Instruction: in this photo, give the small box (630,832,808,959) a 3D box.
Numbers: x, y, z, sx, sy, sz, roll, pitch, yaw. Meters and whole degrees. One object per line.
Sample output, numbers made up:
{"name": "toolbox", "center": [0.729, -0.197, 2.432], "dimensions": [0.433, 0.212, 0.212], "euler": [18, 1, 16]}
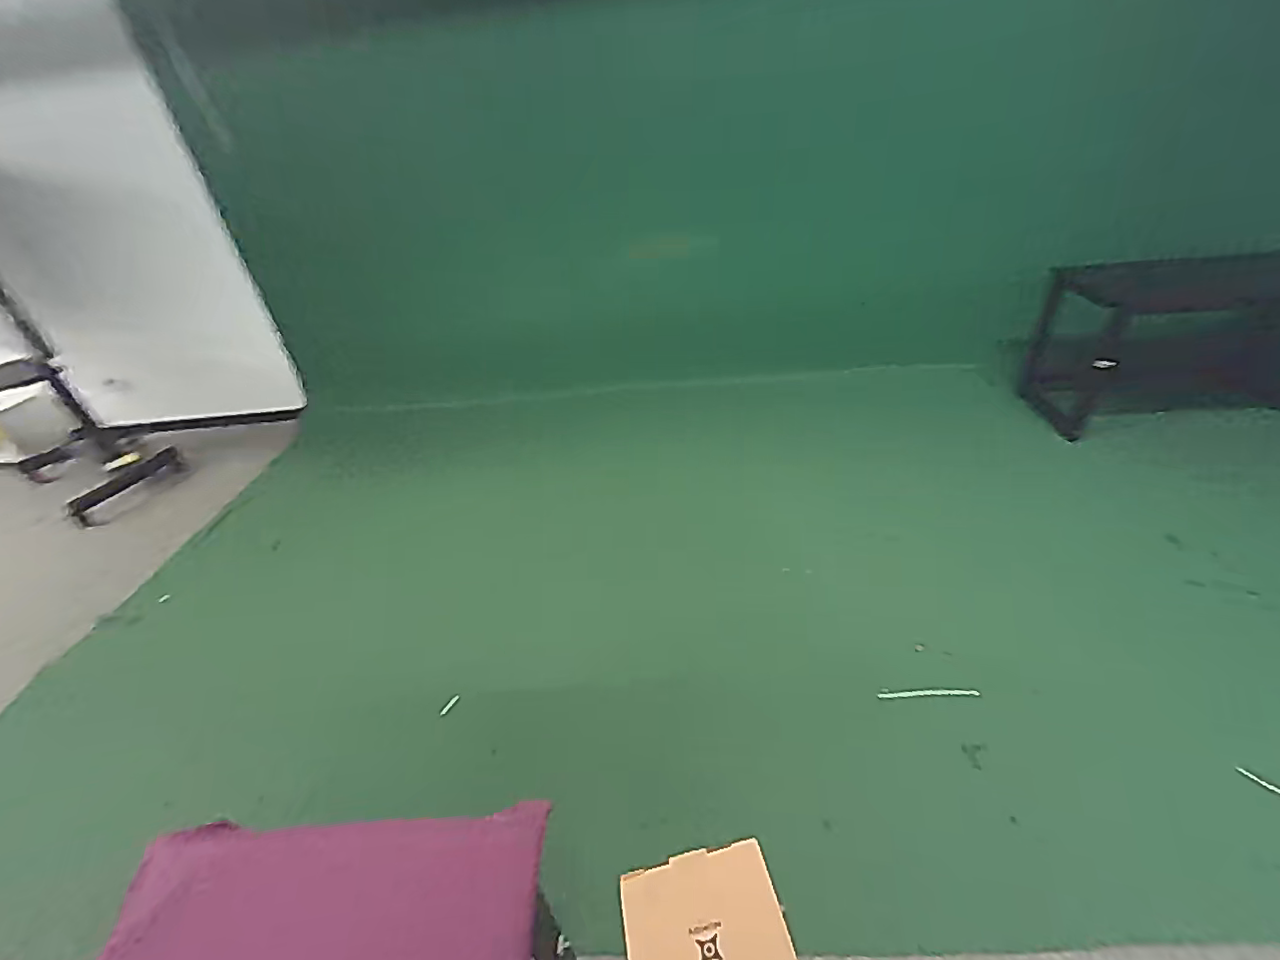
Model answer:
{"name": "small box", "center": [0.089, 0.527, 0.578], "dimensions": [0.168, 0.176, 0.179], "euler": [-12, 27, -2]}
